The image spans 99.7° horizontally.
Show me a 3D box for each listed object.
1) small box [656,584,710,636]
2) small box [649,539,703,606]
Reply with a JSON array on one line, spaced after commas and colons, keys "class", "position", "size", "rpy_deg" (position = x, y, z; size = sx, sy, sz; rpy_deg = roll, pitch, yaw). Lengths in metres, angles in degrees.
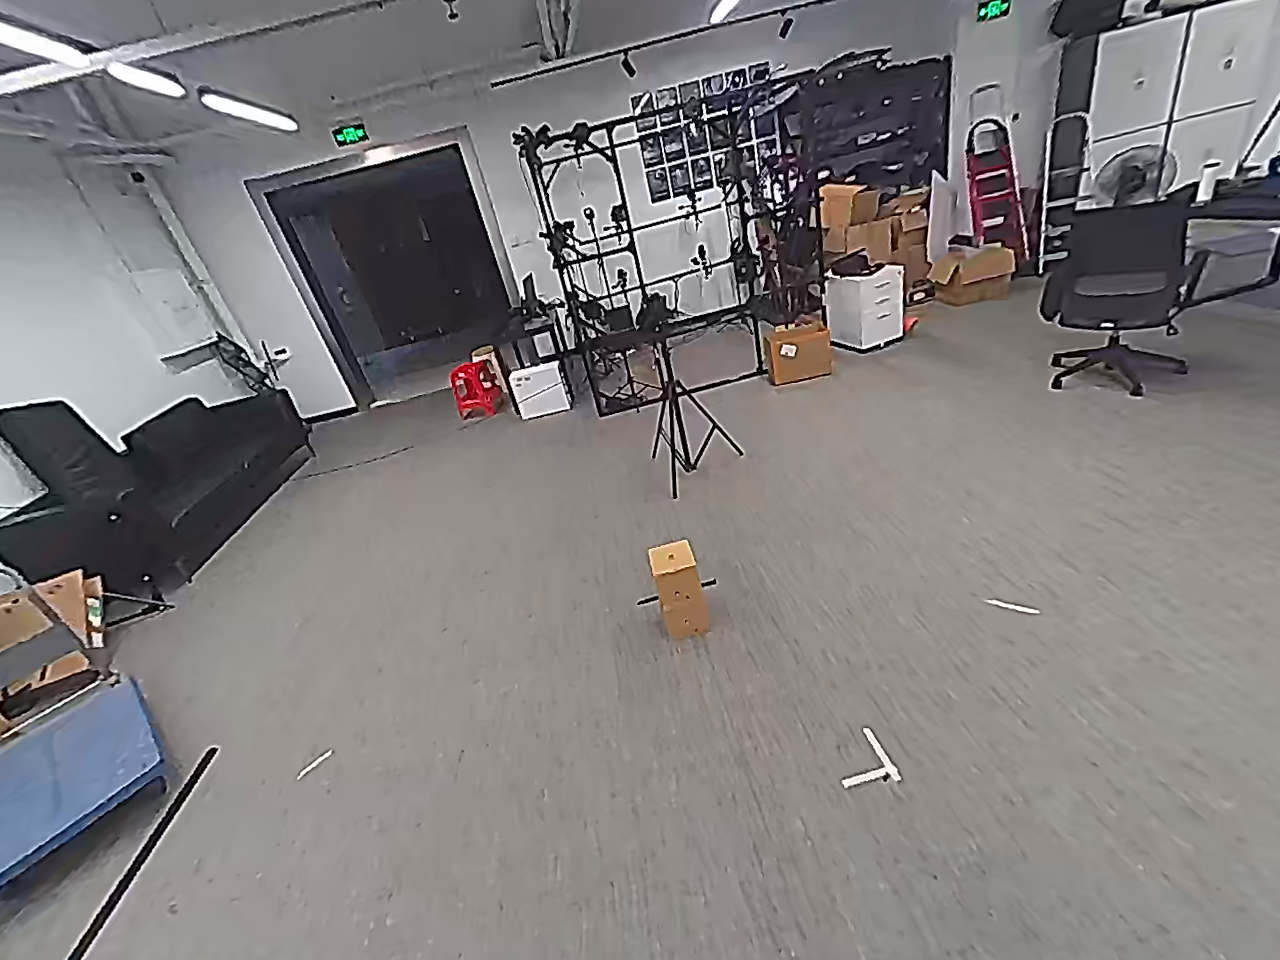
[{"class": "small box", "position": [0.174, 0.508, 2.189], "size": [0.168, 0.176, 0.179], "rpy_deg": [-16, 27, -2]}, {"class": "small box", "position": [0.140, 0.363, 2.122], "size": [0.168, 0.176, 0.179], "rpy_deg": [-15, 28, 0]}]
